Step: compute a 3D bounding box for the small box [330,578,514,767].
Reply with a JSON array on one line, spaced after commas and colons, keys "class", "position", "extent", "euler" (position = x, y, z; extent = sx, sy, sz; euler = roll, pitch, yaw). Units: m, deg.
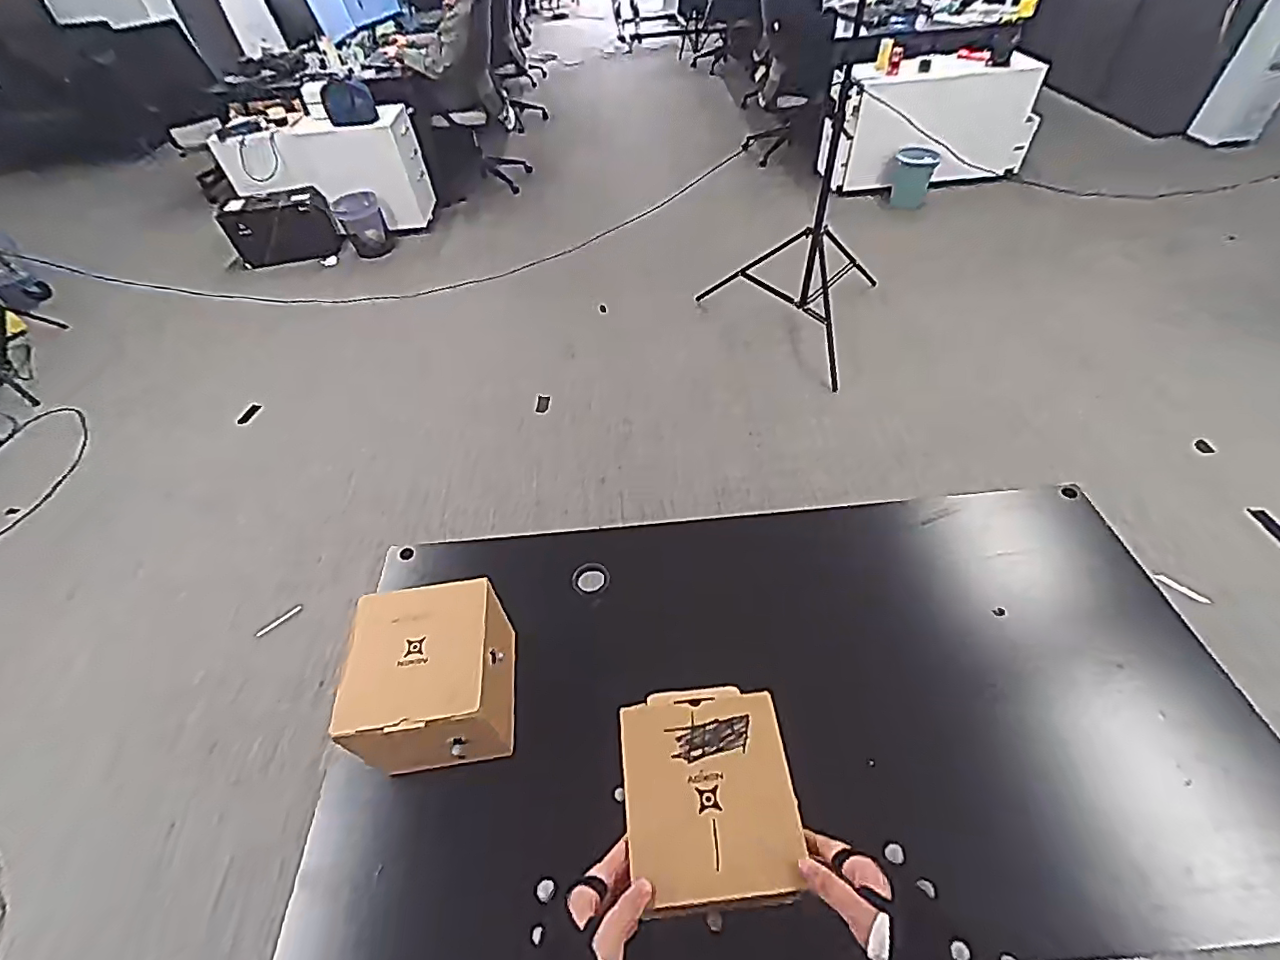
[{"class": "small box", "position": [-0.261, 0.252, 0.696], "extent": [0.168, 0.176, 0.179], "euler": [-7, 48, -4]}]

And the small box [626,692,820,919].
[{"class": "small box", "position": [0.074, 0.352, 0.584], "extent": [0.168, 0.176, 0.179], "euler": [-6, 49, -1]}]
